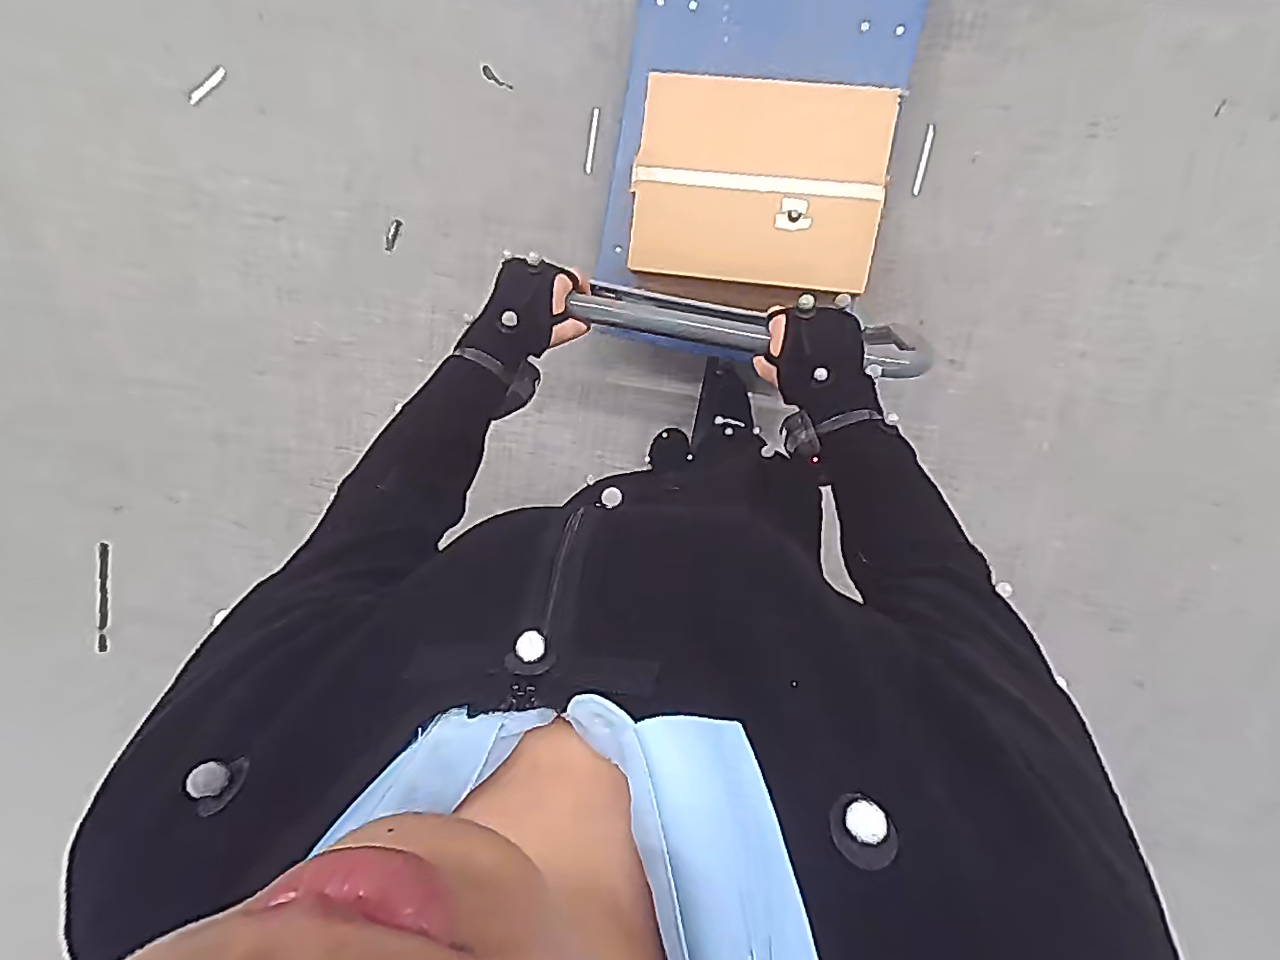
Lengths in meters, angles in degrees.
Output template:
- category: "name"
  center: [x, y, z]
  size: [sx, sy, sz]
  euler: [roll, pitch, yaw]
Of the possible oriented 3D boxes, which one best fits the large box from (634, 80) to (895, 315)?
- category: "large box"
  center: [0.212, -0.517, 1.054]
  size: [0.408, 0.320, 0.320]
  euler: [8, 101, 5]
